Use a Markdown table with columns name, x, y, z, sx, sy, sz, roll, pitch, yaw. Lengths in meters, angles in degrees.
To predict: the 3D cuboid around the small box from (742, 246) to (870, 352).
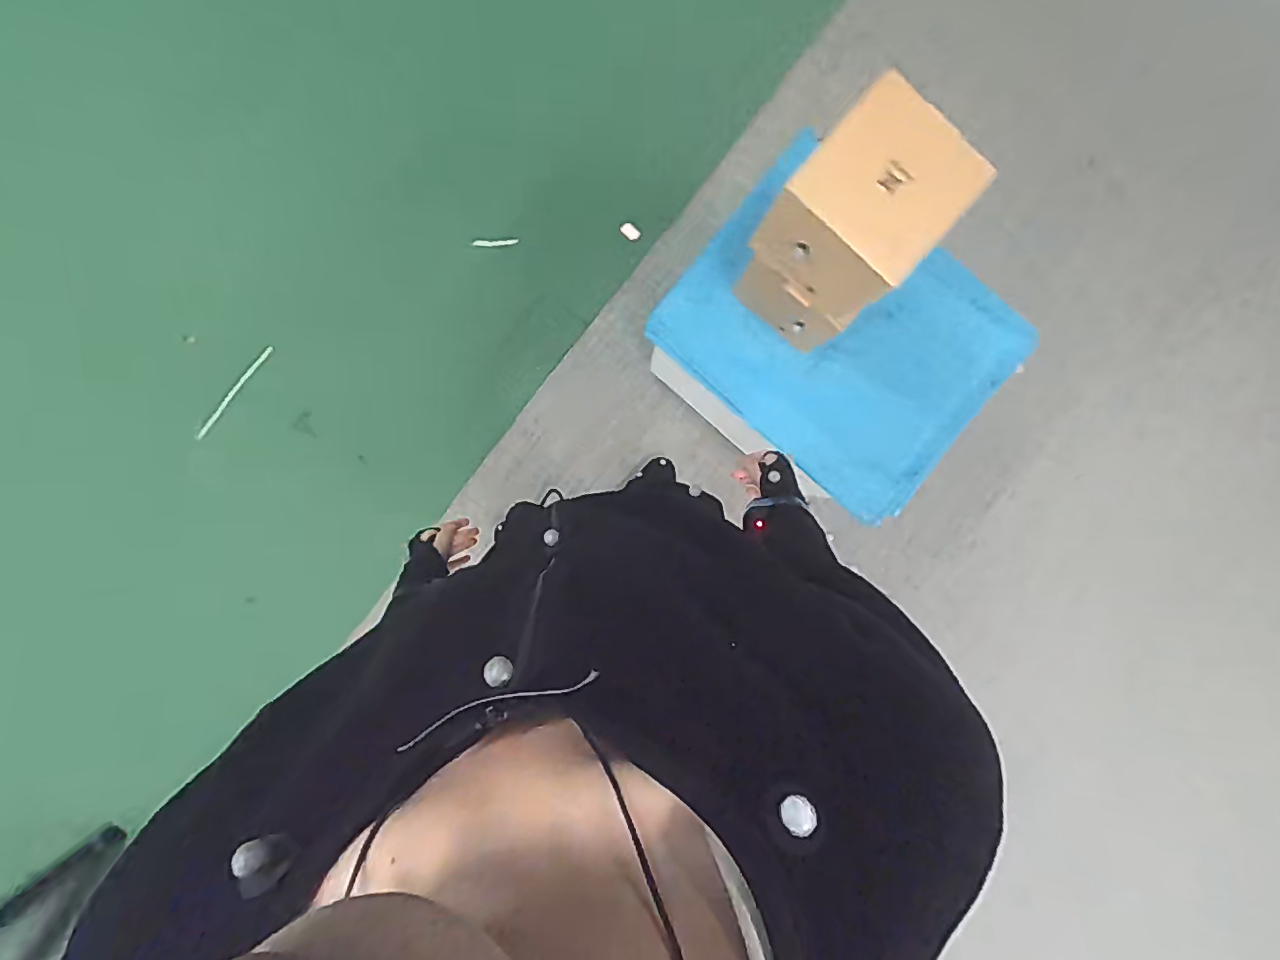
| name | x | y | z | sx | sy | sz | roll | pitch | yaw |
| --- | --- | --- | --- | --- | --- | --- | --- | --- | --- |
| small box | 0.275 | -0.320 | 0.822 | 0.168 | 0.176 | 0.179 | 41 | 90 | -4 |

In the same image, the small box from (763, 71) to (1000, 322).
| name | x | y | z | sx | sy | sz | roll | pitch | yaw |
| --- | --- | --- | --- | --- | --- | --- | --- | --- | --- |
| small box | 0.271 | -0.323 | 0.660 | 0.168 | 0.176 | 0.179 | 43 | 89 | -3 |
